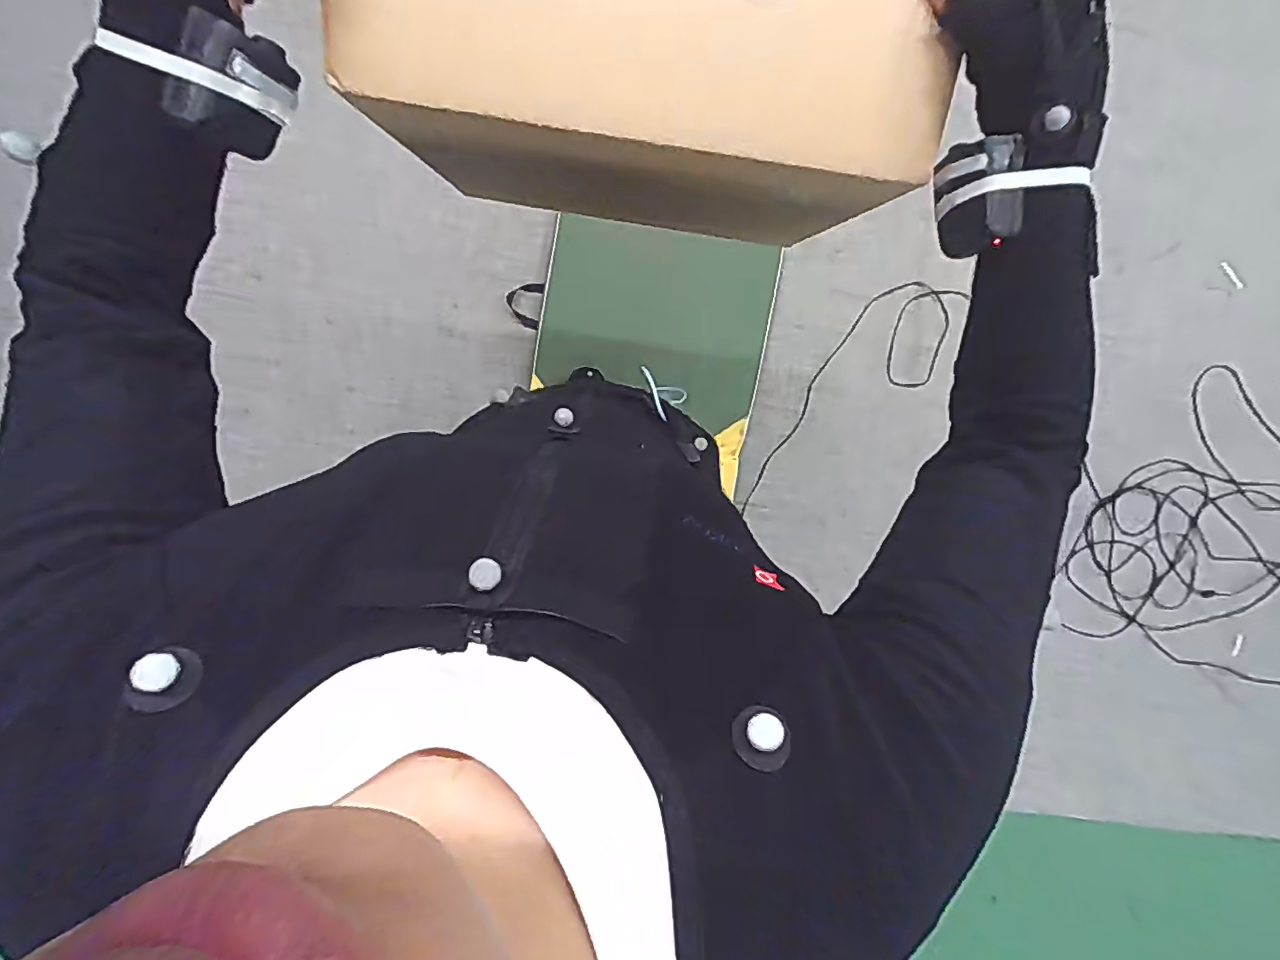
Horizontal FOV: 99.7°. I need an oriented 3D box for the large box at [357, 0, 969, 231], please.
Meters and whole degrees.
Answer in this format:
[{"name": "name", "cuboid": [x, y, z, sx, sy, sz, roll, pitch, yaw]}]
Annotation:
[{"name": "large box", "cuboid": [0.020, -0.429, 0.471, 0.408, 0.320, 0.320, 6, 107, -5]}]
